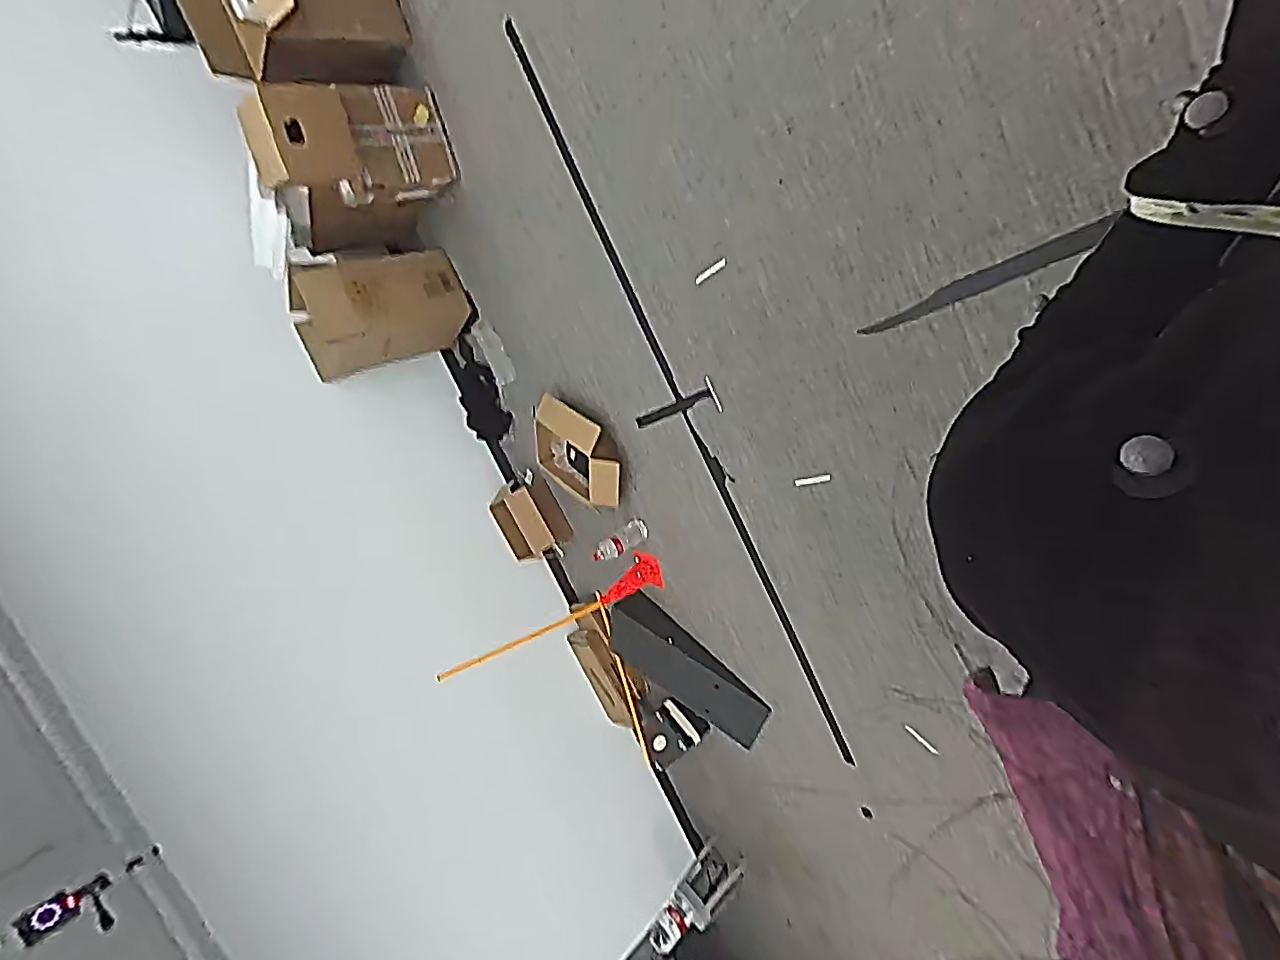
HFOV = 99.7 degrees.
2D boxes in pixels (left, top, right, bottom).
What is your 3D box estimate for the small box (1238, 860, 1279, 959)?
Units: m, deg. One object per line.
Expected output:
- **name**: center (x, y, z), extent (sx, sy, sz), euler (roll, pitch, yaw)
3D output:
- **small box**: center (0.802, 0.582, 0.593), extent (0.168, 0.176, 0.179), euler (-11, 105, 55)
